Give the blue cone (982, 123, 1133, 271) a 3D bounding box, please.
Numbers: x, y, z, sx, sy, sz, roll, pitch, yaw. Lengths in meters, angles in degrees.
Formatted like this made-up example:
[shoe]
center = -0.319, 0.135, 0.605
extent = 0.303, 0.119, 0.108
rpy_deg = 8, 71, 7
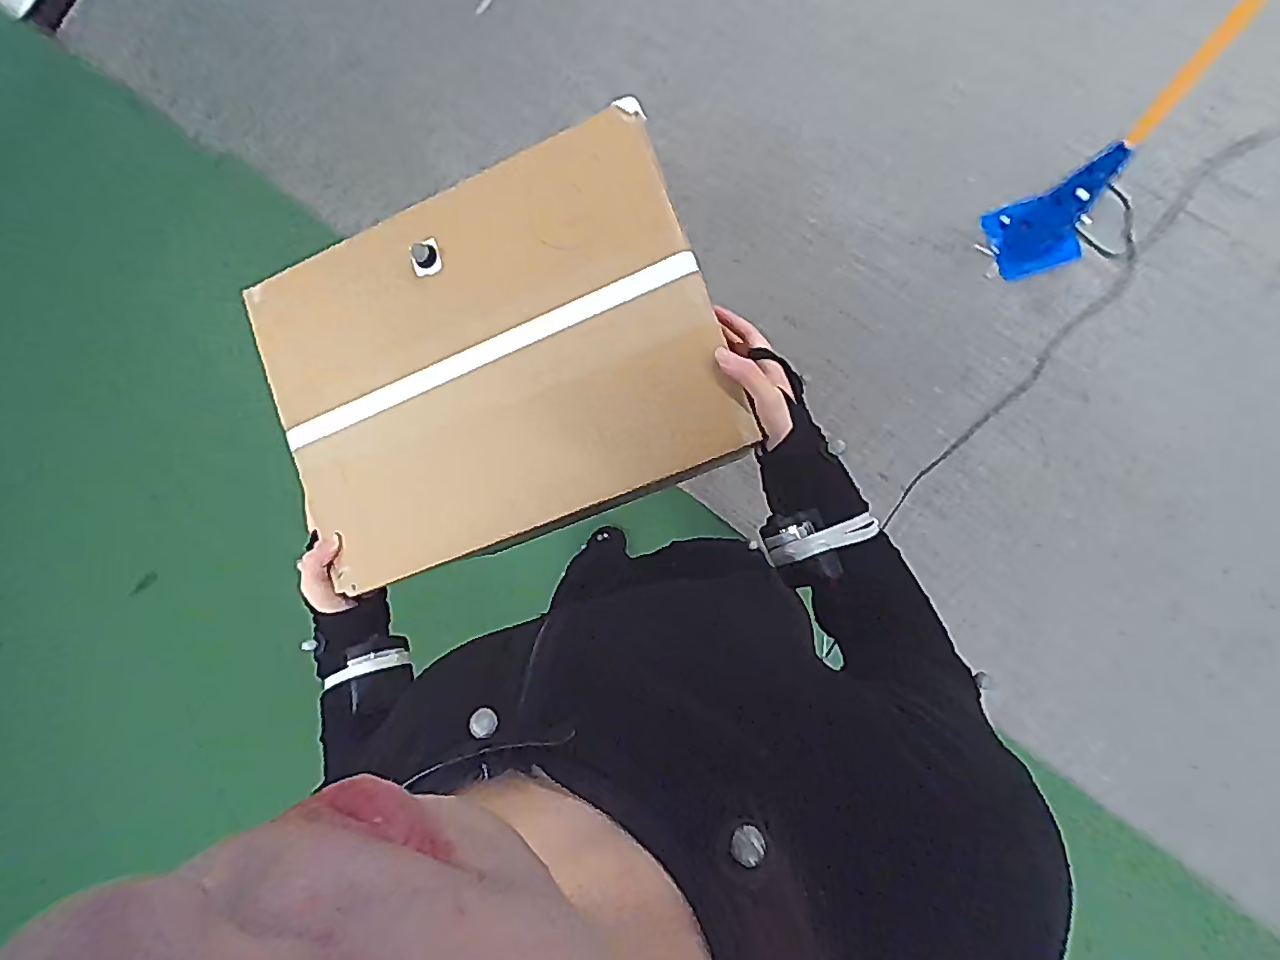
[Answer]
[blue cone]
center = 0.988, -0.663, 1.245
extent = 0.193, 0.380, 0.192
rpy_deg = -21, 82, 7
